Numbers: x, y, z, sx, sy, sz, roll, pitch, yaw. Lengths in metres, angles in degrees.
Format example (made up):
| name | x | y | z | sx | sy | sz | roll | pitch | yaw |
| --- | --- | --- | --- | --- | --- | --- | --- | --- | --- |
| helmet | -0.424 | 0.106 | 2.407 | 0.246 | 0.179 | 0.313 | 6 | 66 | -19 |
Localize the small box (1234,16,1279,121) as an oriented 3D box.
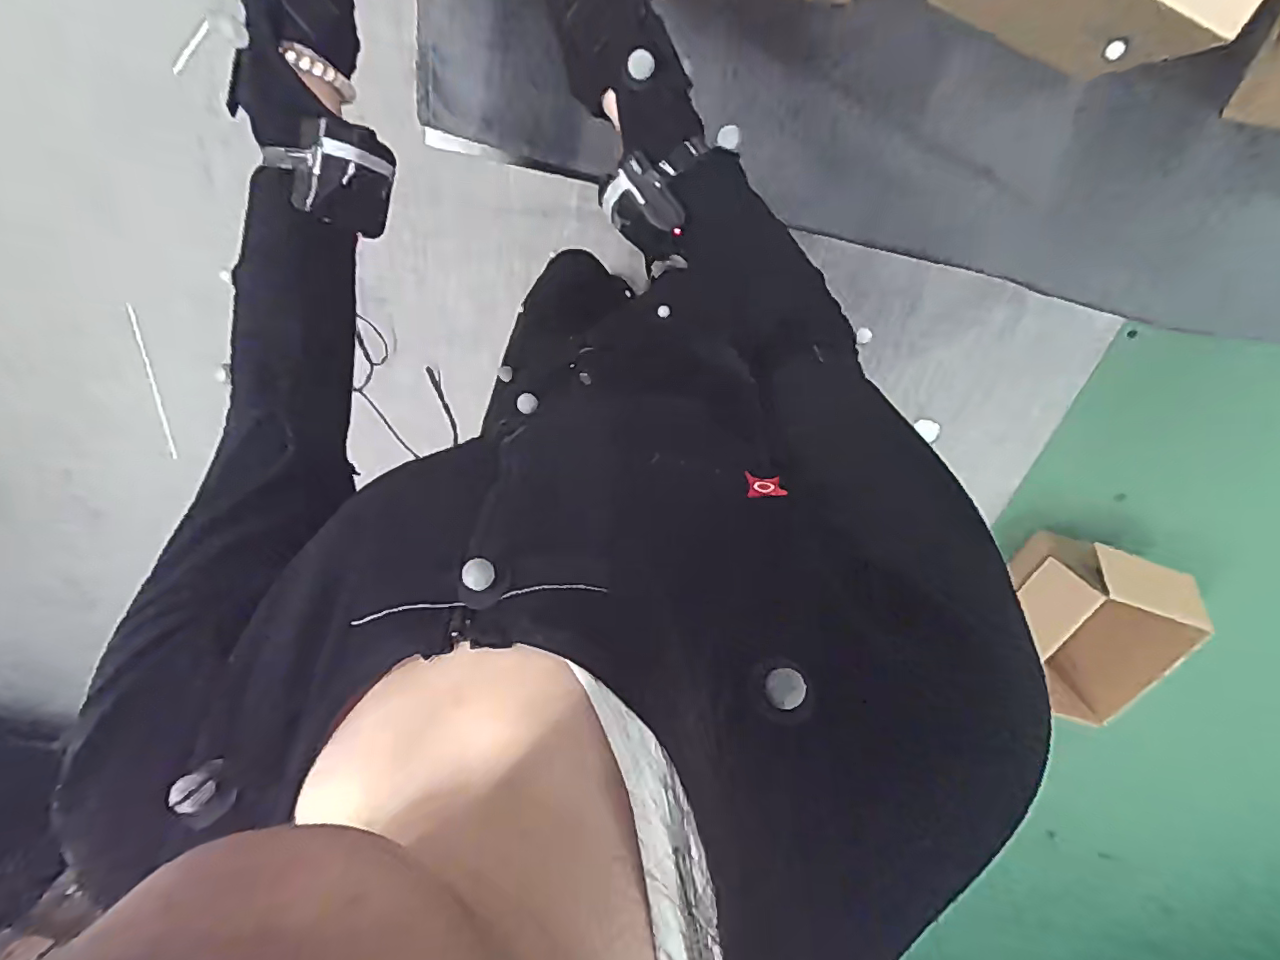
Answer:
| name | x | y | z | sx | sy | sz | roll | pitch | yaw |
| --- | --- | --- | --- | --- | --- | --- | --- | --- | --- |
| small box | 0.656 | -0.372 | 0.413 | 0.179 | 0.176 | 0.168 | 10 | 119 | 0 |
